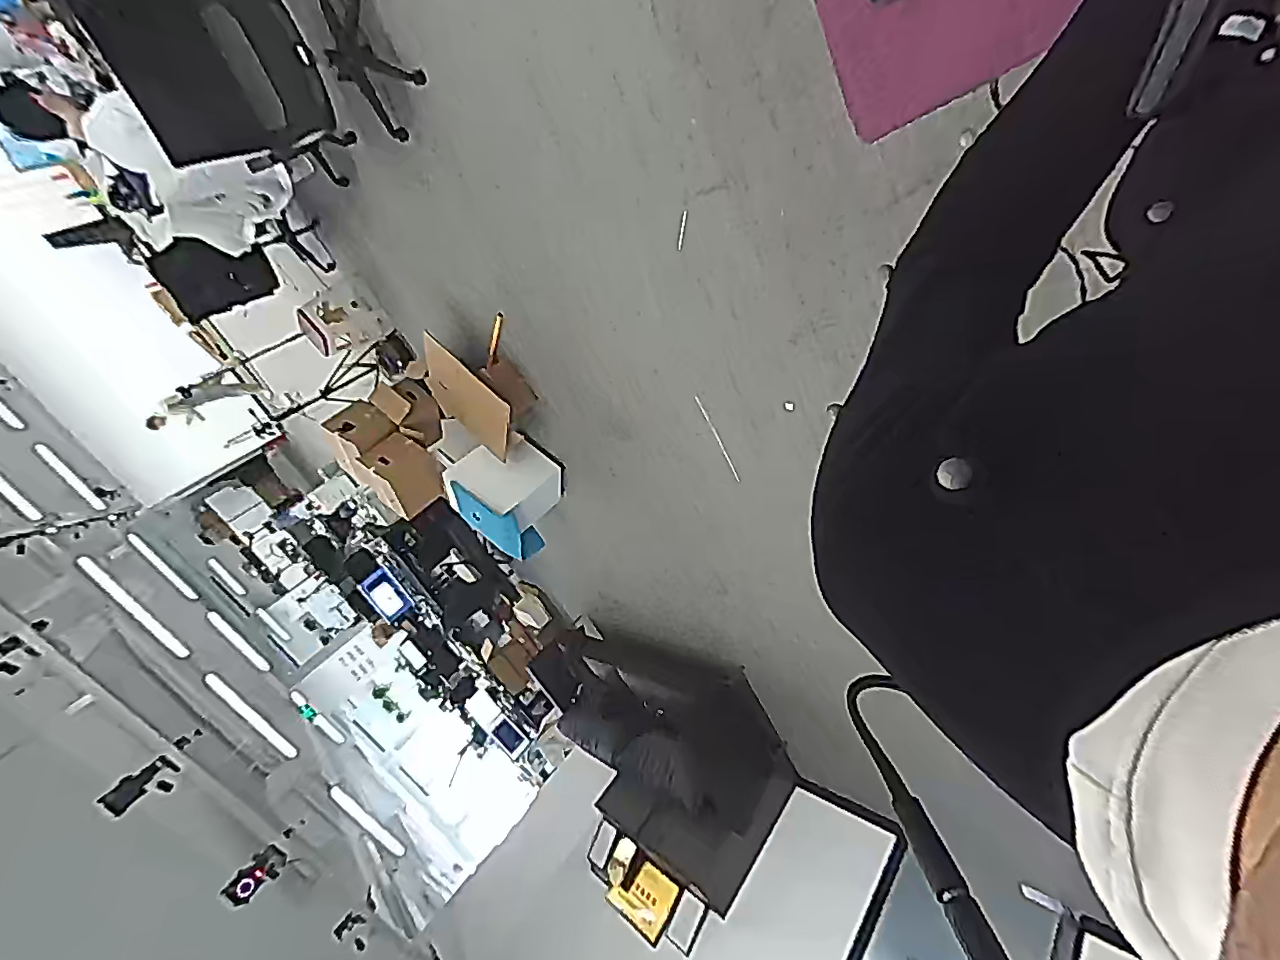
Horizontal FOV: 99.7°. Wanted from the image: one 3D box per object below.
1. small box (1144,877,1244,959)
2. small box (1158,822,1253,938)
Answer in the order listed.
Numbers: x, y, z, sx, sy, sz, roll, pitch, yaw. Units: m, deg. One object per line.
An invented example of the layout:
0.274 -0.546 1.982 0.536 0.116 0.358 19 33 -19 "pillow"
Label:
1.408 1.168 1.375 0.168 0.176 0.179 1 126 50 "small box"
1.521 1.080 1.457 0.168 0.176 0.179 7 129 48 "small box"
